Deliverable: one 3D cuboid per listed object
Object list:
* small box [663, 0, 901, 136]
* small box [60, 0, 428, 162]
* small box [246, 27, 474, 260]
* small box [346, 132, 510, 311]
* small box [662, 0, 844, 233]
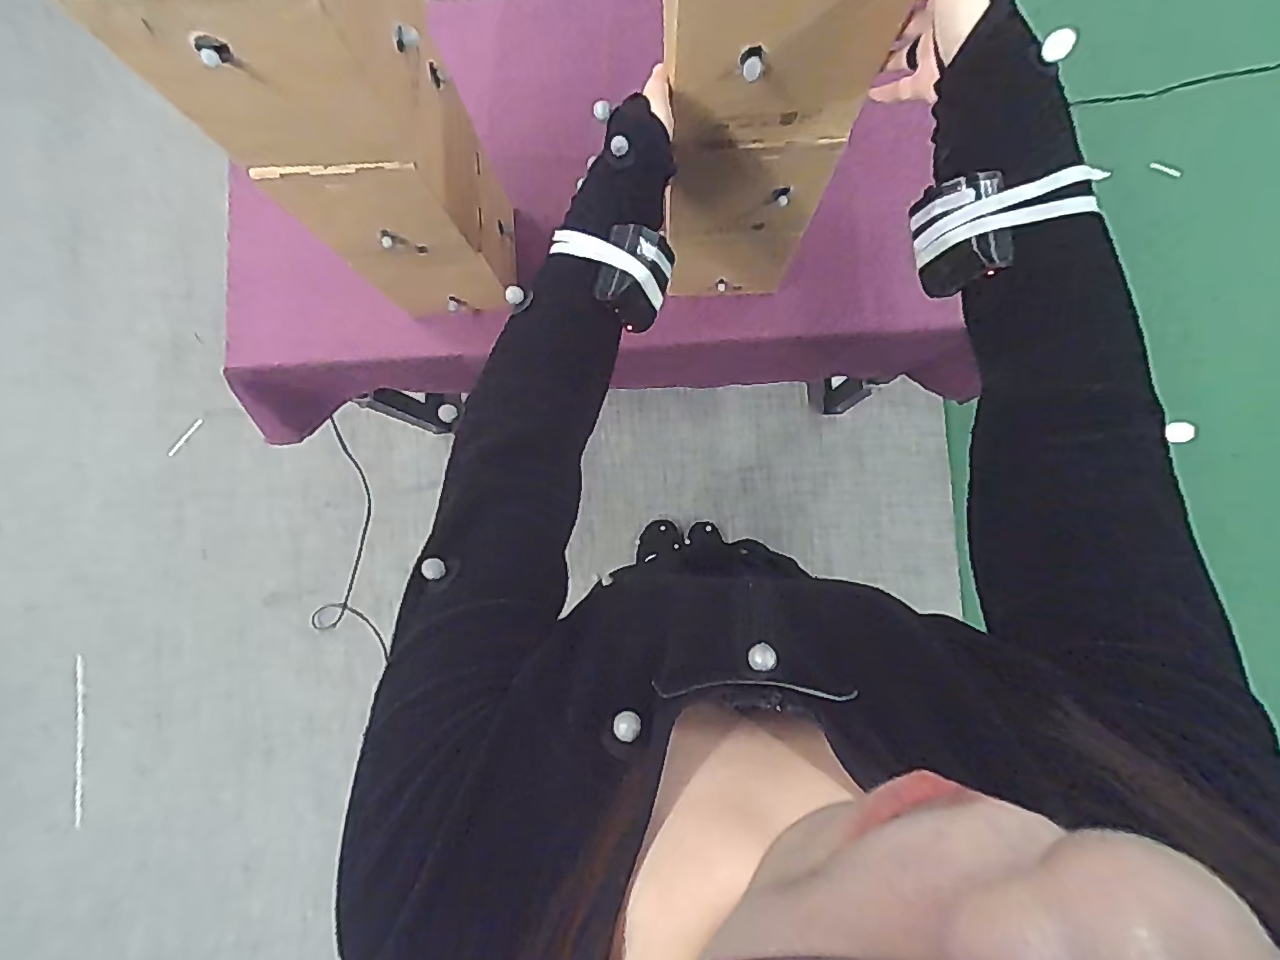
[{"bbox_3d":[0.103,-0.402,0.426,0.168,0.176,0.179,-3,85,1],"label":"small box"},{"bbox_3d":[-0.295,-0.386,0.437,0.179,0.176,0.168,-1,85,1],"label":"small box"},{"bbox_3d":[-0.294,-0.371,0.601,0.168,0.176,0.179,-3,85,3],"label":"small box"},{"bbox_3d":[-0.287,-0.353,0.765,0.179,0.176,0.168,-4,85,1],"label":"small box"},{"bbox_3d":[0.109,-0.388,0.587,0.168,0.176,0.179,-2,85,2],"label":"small box"}]
